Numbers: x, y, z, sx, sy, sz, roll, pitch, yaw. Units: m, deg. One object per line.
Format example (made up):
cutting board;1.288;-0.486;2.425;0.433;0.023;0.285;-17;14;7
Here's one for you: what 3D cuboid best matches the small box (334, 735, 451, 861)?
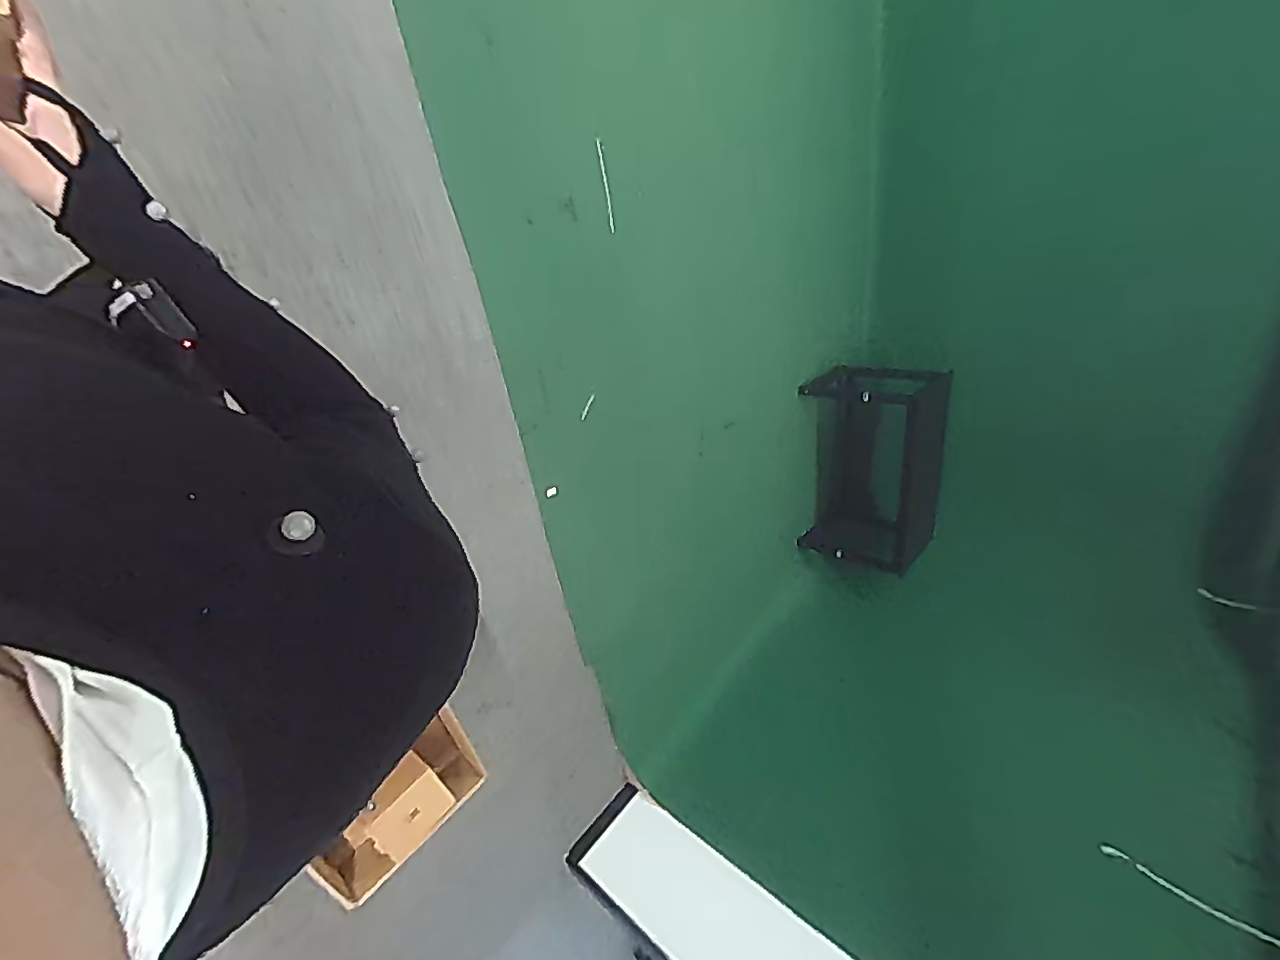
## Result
small box;-0.611;0.775;1.335;0.179;0.176;0.168;-40;130;-33
